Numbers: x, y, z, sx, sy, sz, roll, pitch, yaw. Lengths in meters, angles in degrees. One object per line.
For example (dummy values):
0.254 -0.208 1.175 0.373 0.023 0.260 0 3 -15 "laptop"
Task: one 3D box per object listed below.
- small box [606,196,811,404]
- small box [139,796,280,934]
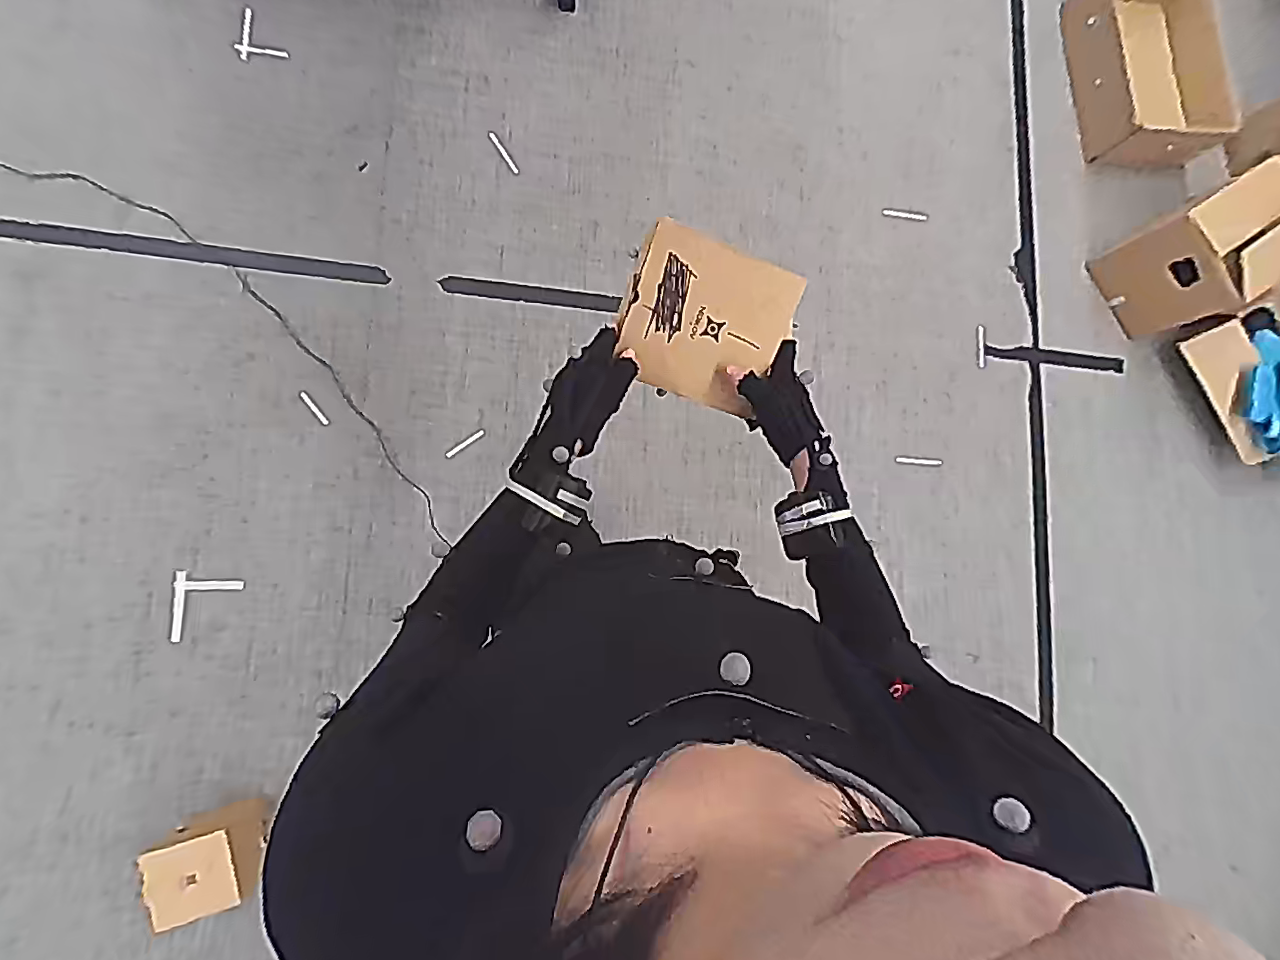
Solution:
0.065 -0.209 0.648 0.179 0.176 0.168 18 107 -11 "small box"
-0.965 0.860 1.226 0.179 0.176 0.168 -15 87 -10 "small box"
